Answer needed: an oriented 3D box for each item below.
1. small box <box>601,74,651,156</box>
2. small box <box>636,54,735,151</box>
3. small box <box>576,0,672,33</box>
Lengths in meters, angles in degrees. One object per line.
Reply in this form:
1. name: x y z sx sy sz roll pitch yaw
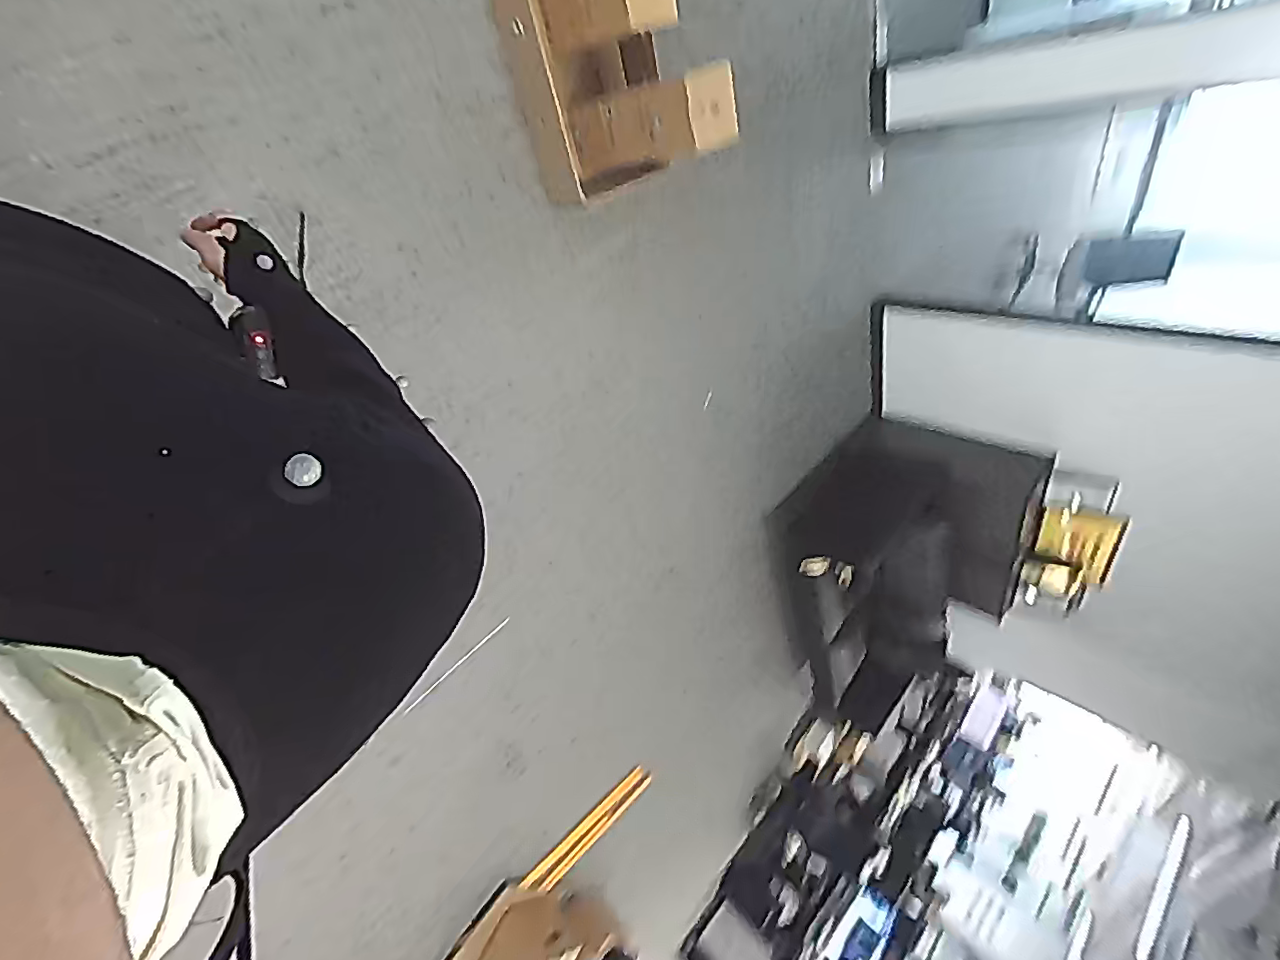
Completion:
1. small box: 0.009 -1.022 1.511 0.179 0.176 0.168 -37 131 -29
2. small box: 0.118 -0.971 1.398 0.179 0.176 0.168 -38 130 -27
3. small box: -0.049 -1.243 1.345 0.179 0.176 0.168 -39 133 -28
